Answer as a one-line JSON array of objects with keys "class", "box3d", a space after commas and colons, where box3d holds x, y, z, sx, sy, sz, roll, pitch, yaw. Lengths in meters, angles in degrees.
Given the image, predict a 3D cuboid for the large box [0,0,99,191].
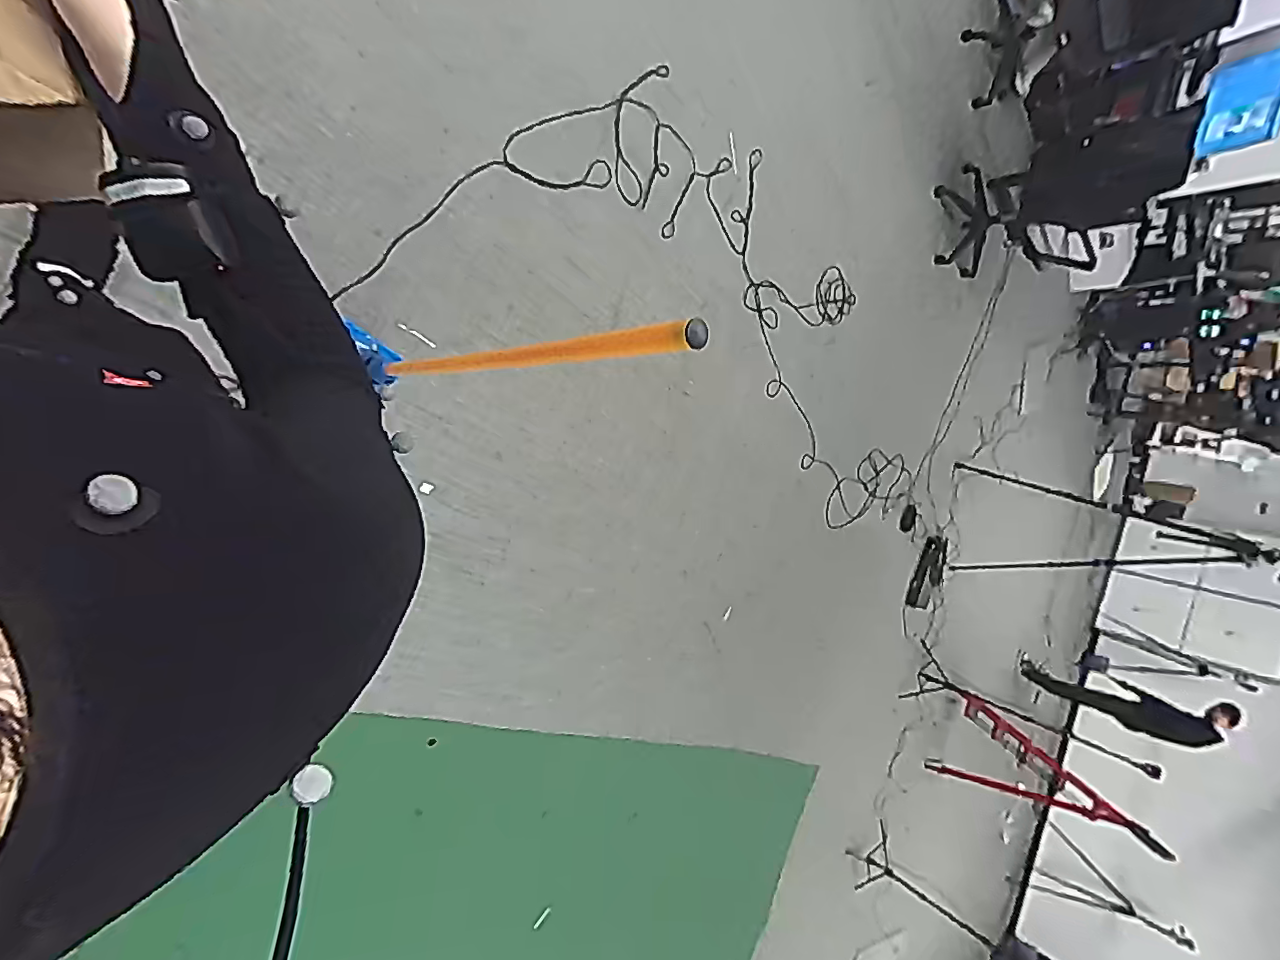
[{"class": "large box", "box3d": [-0.606, -0.331, 0.266, 0.408, 0.320, 0.320, -29, 120, -38]}]
